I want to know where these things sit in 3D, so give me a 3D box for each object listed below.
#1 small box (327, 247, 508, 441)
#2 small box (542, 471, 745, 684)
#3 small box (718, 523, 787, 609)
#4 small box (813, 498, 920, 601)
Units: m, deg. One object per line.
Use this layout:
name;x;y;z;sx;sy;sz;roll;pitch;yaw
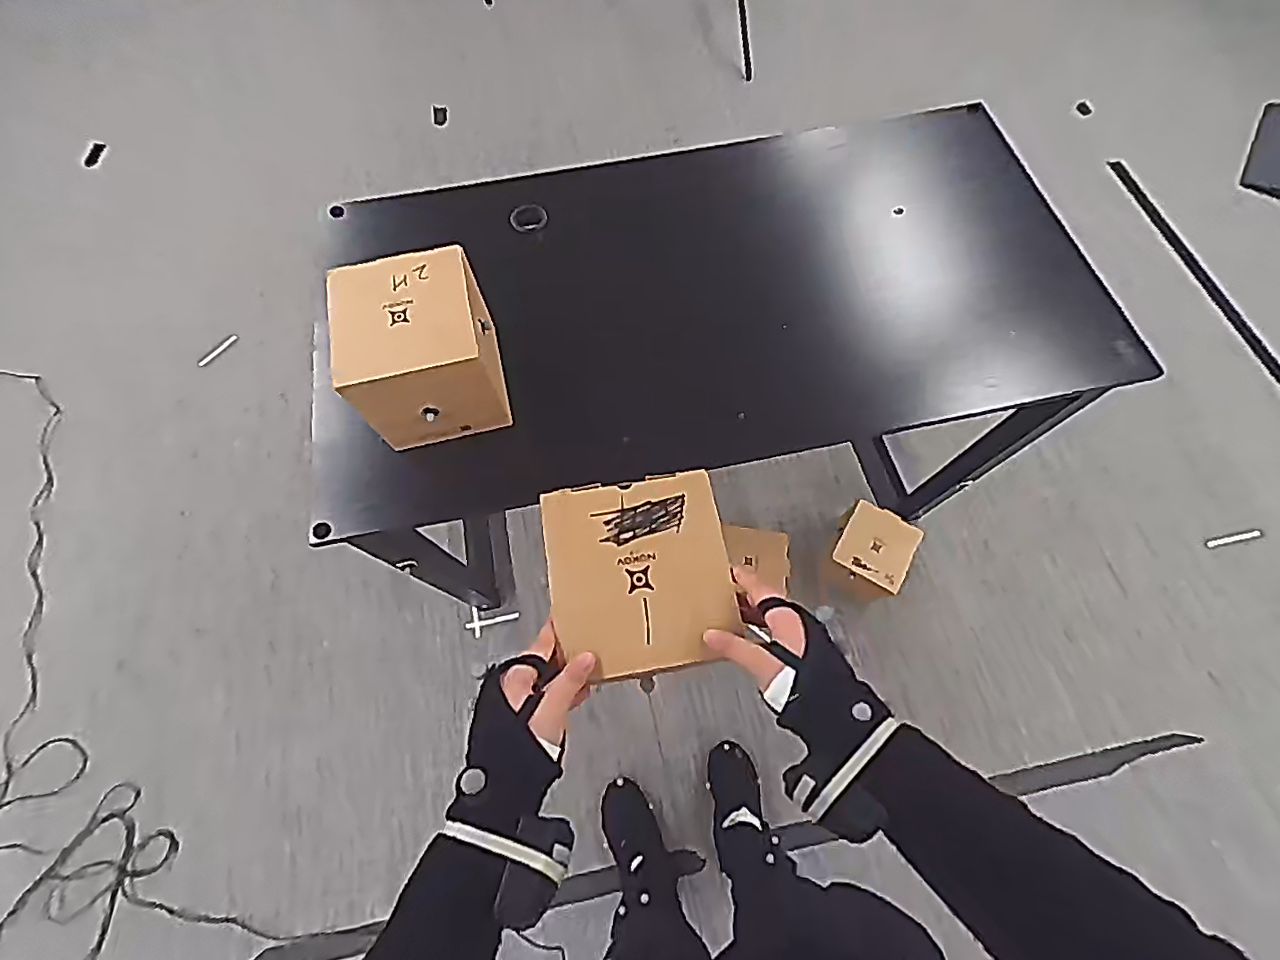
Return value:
small box;-0.282;-0.165;0.711;0.168;0.176;0.179;-14;69;-5
small box;-0.003;0.110;0.566;0.168;0.176;0.179;-9;70;-4
small box;0.254;0.218;1.338;0.179;0.176;0.168;8;68;5
small box;0.555;0.178;1.346;0.168;0.176;0.179;29;72;12
